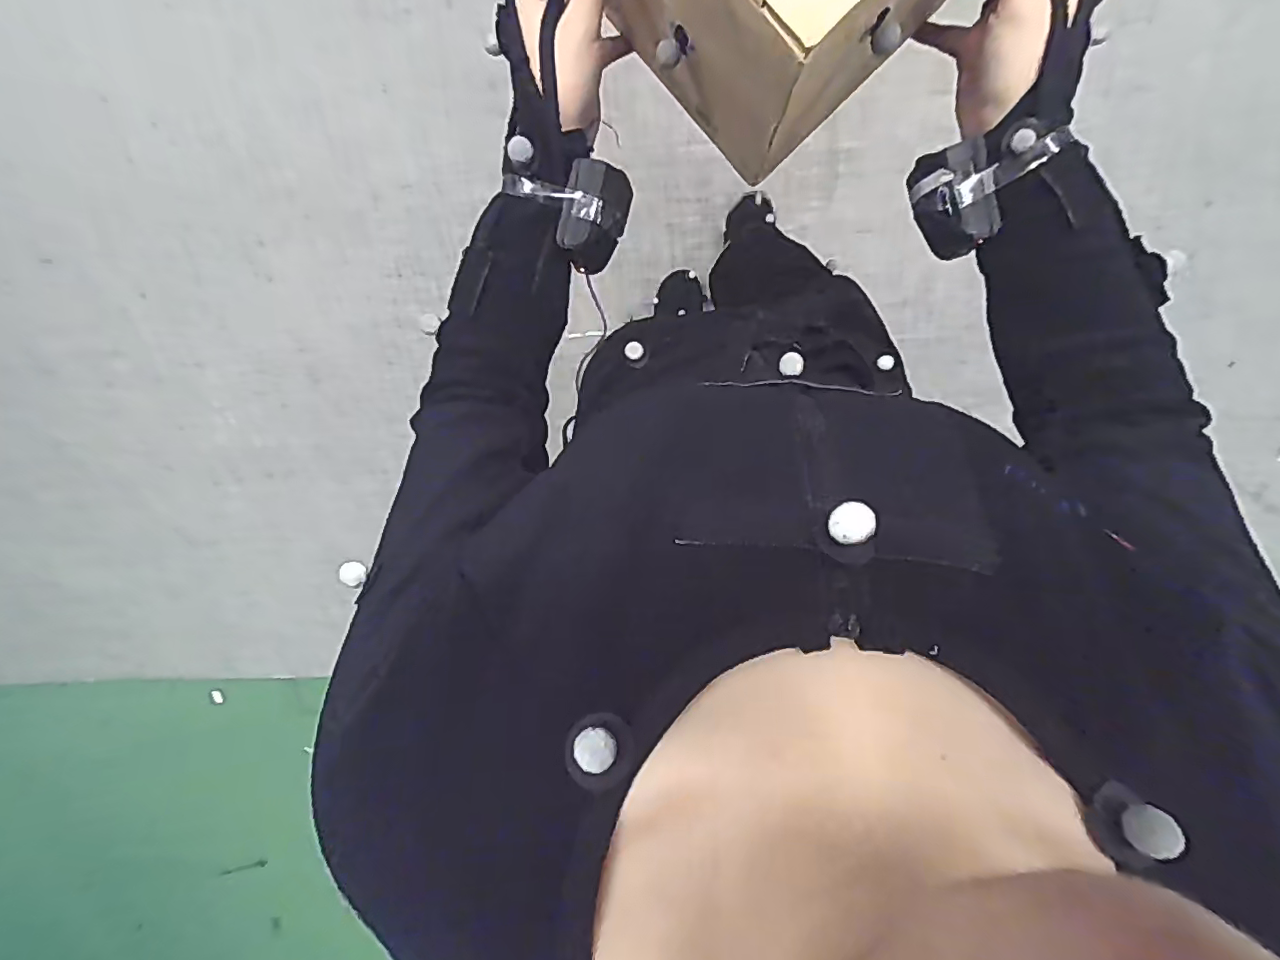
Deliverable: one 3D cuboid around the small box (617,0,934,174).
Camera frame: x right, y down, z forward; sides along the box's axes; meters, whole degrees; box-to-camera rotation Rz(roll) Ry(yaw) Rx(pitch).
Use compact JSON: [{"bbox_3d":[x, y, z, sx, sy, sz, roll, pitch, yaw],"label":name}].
[{"bbox_3d":[0.087,-0.324,0.313,0.179,0.176,0.168,-42,94,10],"label":"small box"}]
